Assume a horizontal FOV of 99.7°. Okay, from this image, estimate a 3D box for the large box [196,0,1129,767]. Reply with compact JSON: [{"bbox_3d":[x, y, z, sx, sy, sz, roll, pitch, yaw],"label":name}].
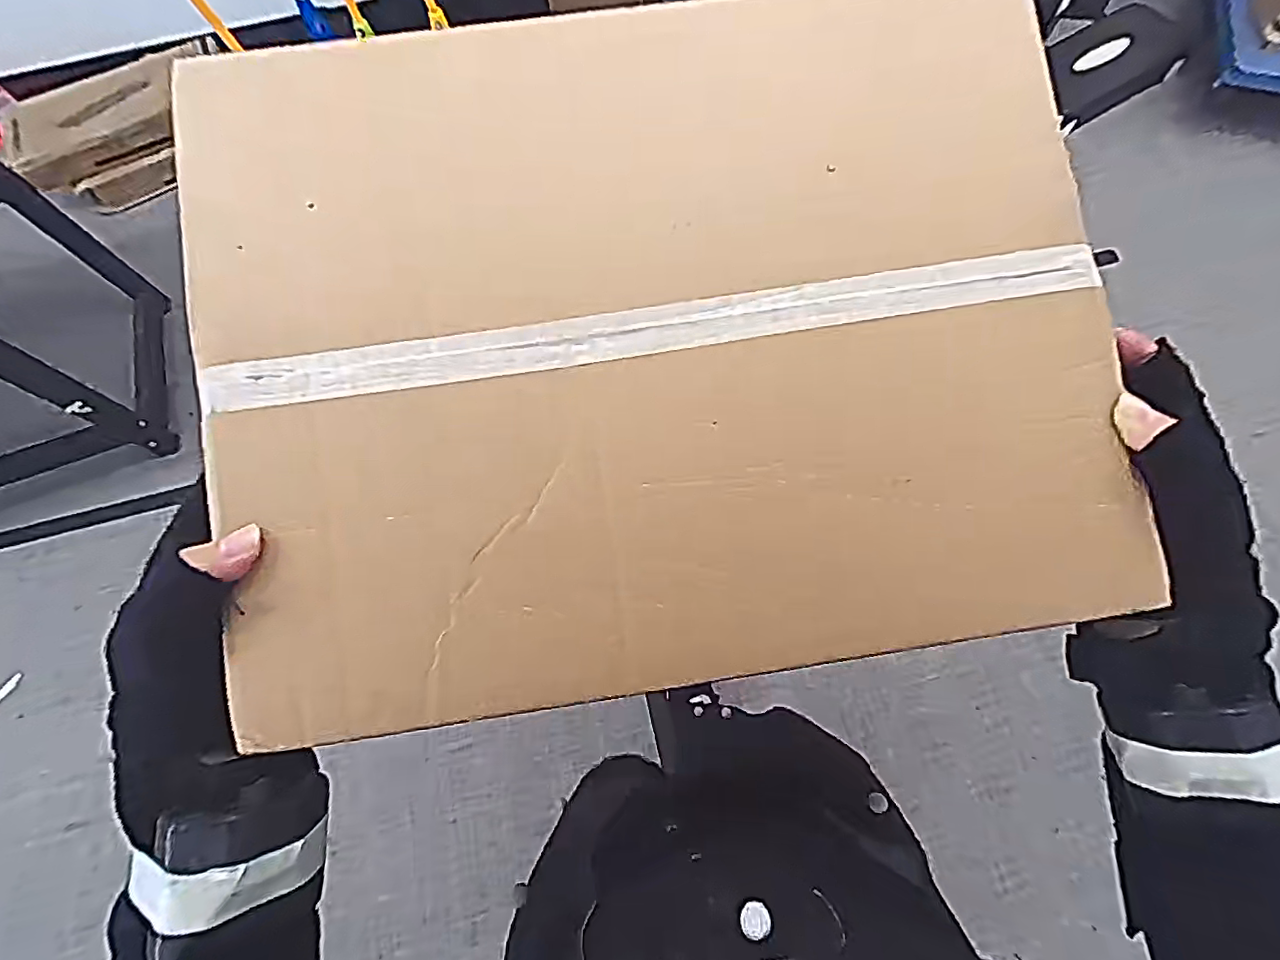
[{"bbox_3d":[0.006,-0.047,0.401,0.408,0.320,0.320,-9,85,-2],"label":"large box"}]
